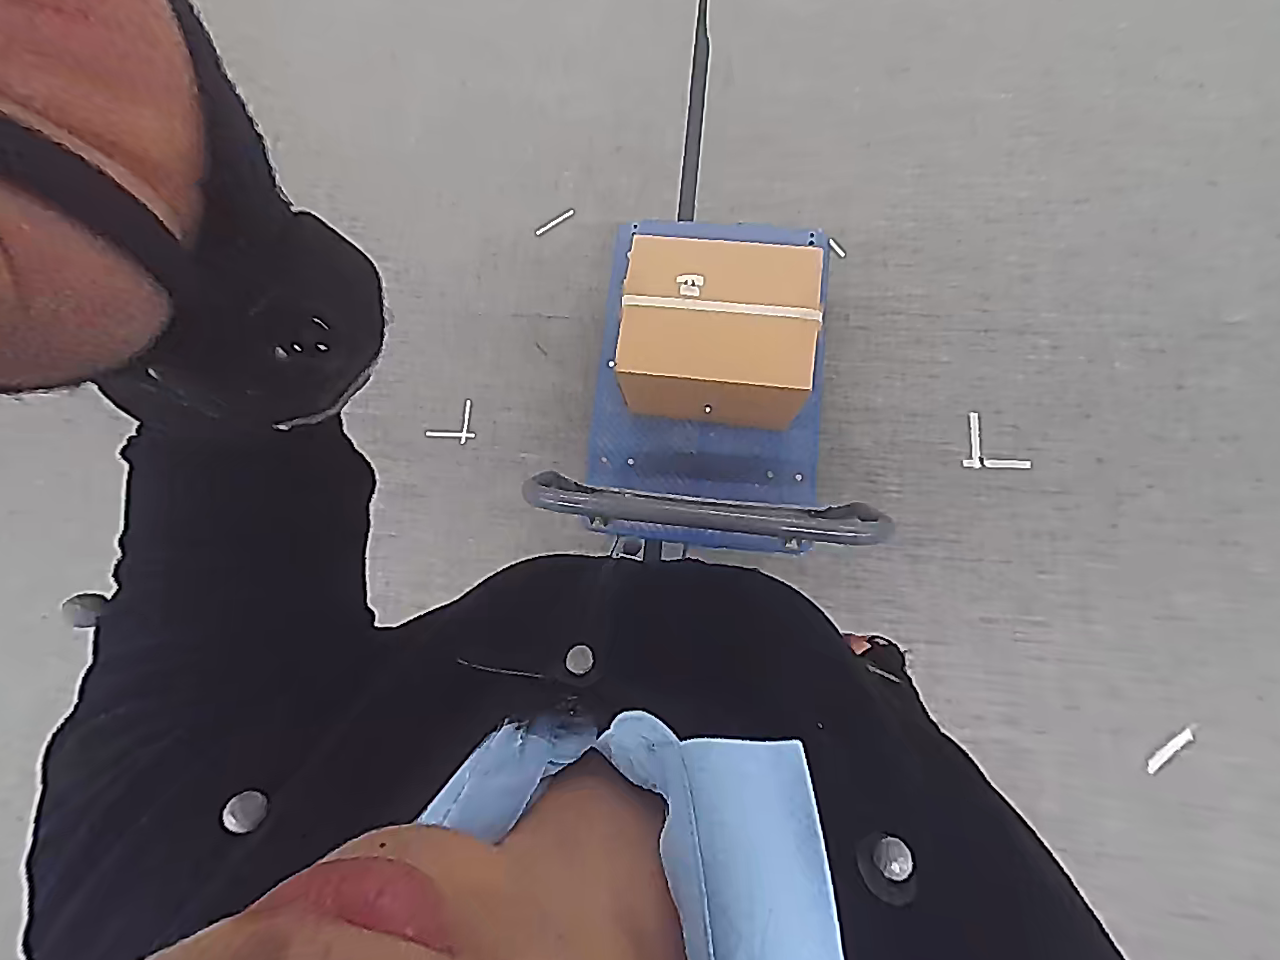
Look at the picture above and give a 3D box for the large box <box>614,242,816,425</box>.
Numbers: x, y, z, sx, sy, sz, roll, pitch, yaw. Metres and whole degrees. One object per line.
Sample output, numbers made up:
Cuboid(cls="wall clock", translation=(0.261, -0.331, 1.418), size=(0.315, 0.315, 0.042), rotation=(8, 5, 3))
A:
Cuboid(cls="large box", translation=(0.175, -0.328, 1.278), size=(0.408, 0.320, 0.320), rotation=(6, 80, 7))
